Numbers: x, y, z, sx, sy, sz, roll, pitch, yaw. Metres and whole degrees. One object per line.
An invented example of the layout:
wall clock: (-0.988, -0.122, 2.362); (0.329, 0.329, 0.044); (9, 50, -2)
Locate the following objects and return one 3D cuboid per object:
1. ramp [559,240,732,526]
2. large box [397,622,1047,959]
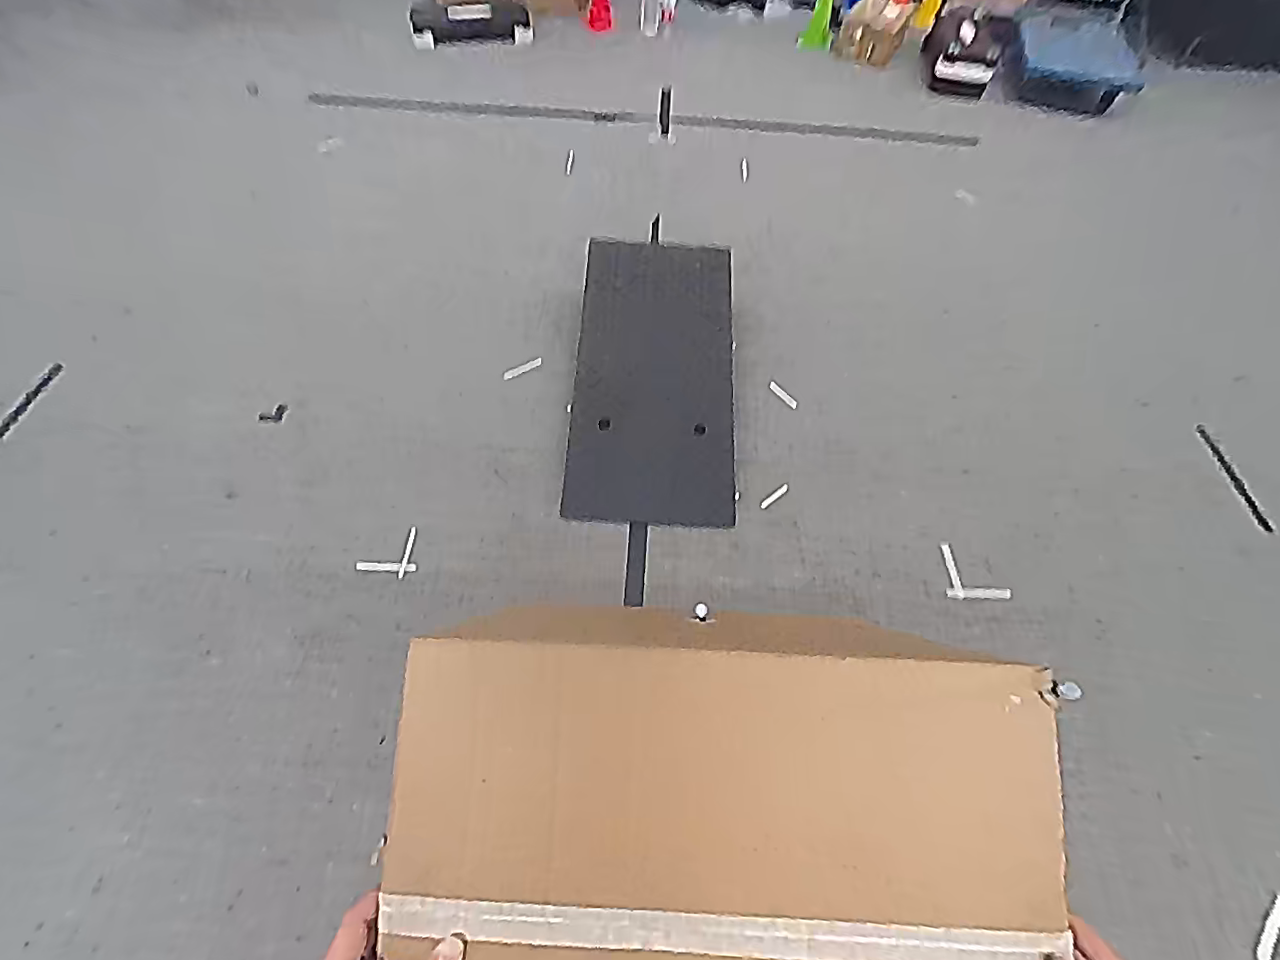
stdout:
ramp: (0.039, -0.345, 1.687); (0.509, 0.206, 0.991); (2, 59, -3)
large box: (0.049, 0.297, 0.479); (0.408, 0.320, 0.320); (2, 82, 1)
